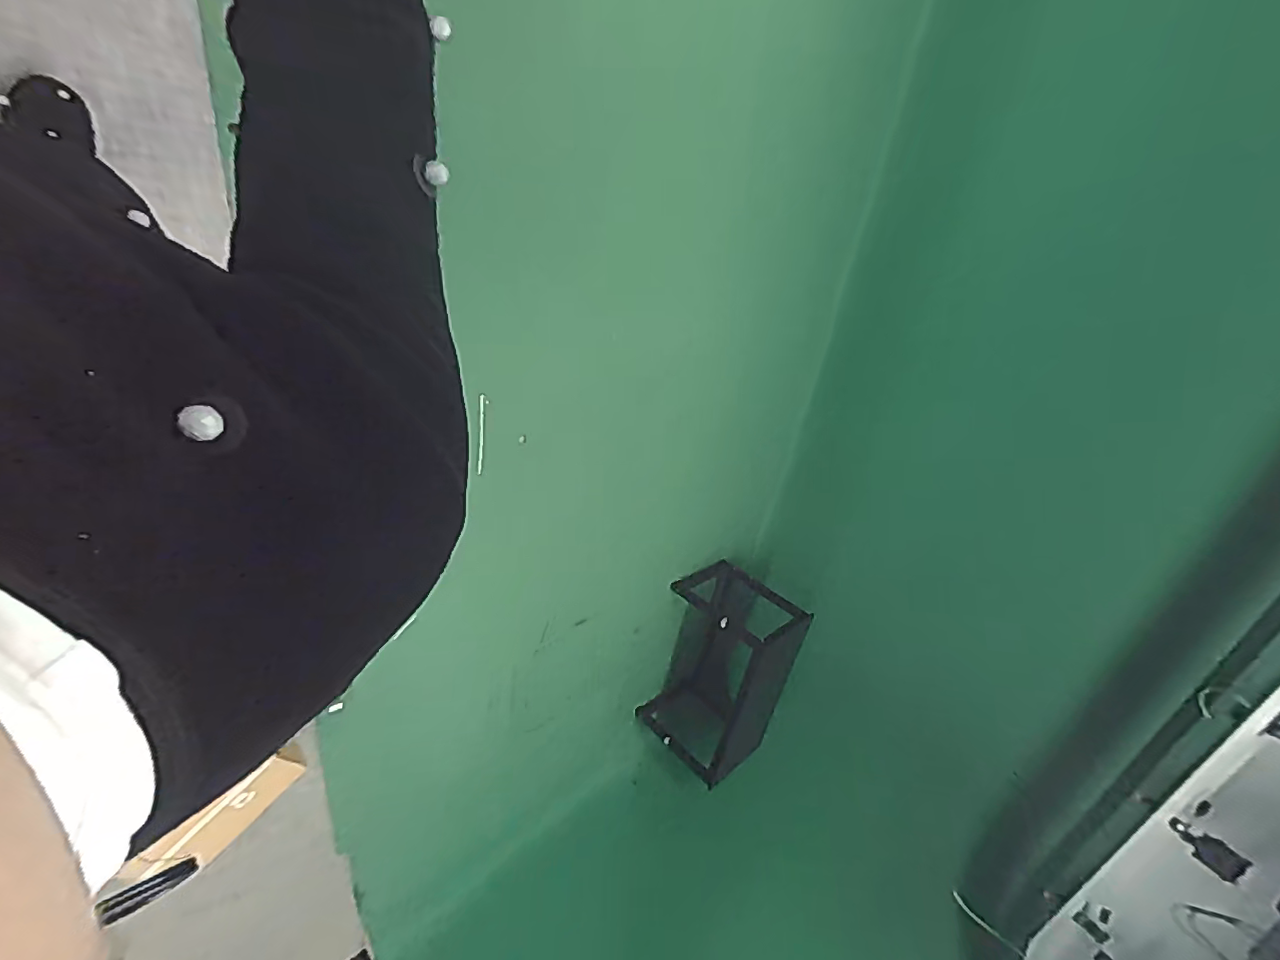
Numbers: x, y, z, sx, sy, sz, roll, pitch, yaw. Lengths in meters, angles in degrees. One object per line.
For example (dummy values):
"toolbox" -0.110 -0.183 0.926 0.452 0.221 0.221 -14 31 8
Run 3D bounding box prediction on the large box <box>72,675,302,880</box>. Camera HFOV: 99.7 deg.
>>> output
"large box" -1.328 0.874 1.603 0.408 0.320 0.320 -46 143 -19
